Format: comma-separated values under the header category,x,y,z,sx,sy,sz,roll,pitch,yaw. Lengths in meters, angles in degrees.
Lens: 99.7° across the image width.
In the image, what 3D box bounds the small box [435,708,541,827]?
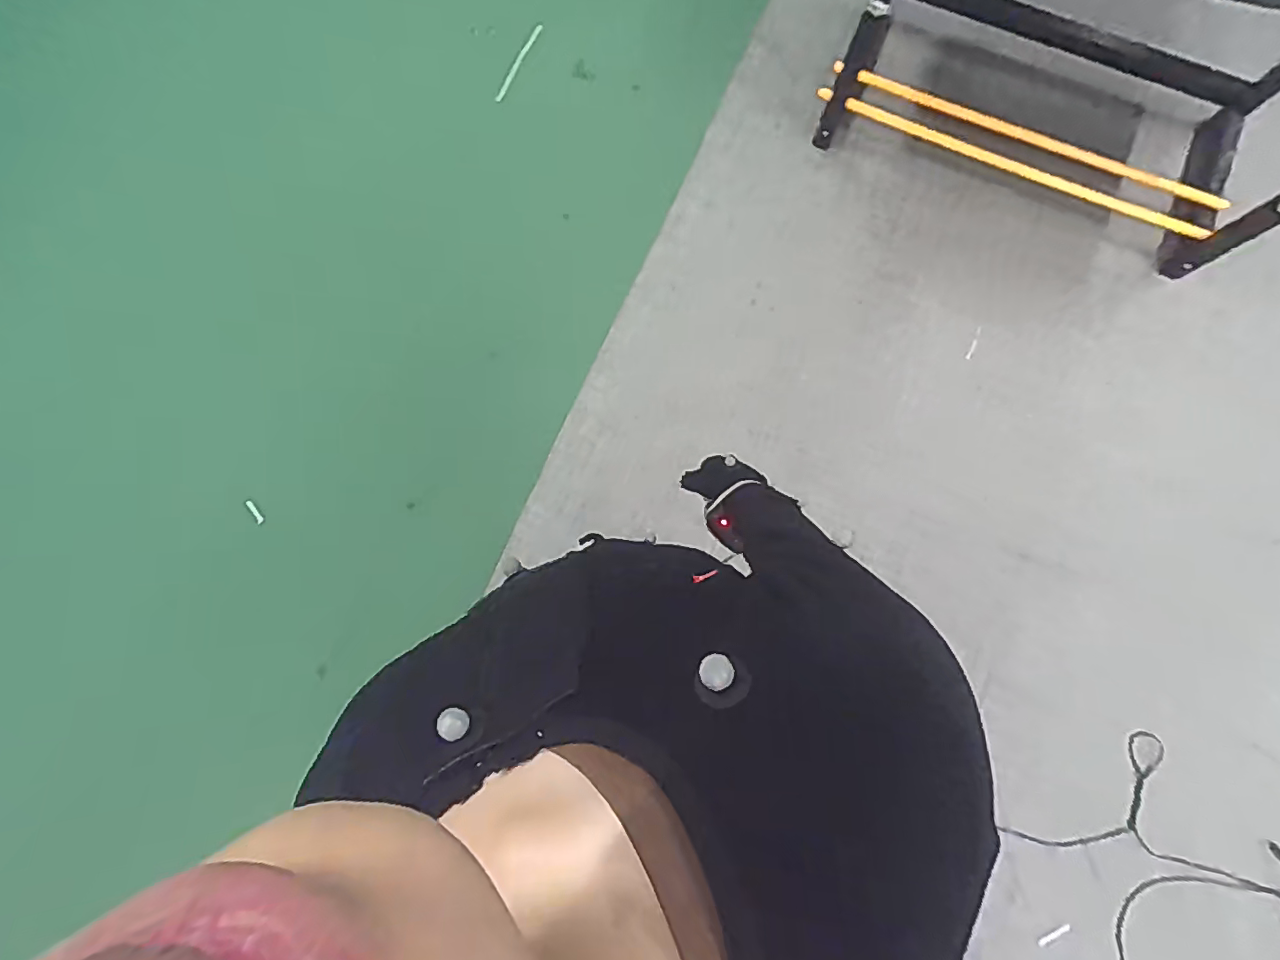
category,x,y,z,sx,sy,sz,roll,pitch,yaw
small box,-0.360,0.693,1.323,0.168,0.176,0.179,27,80,5
